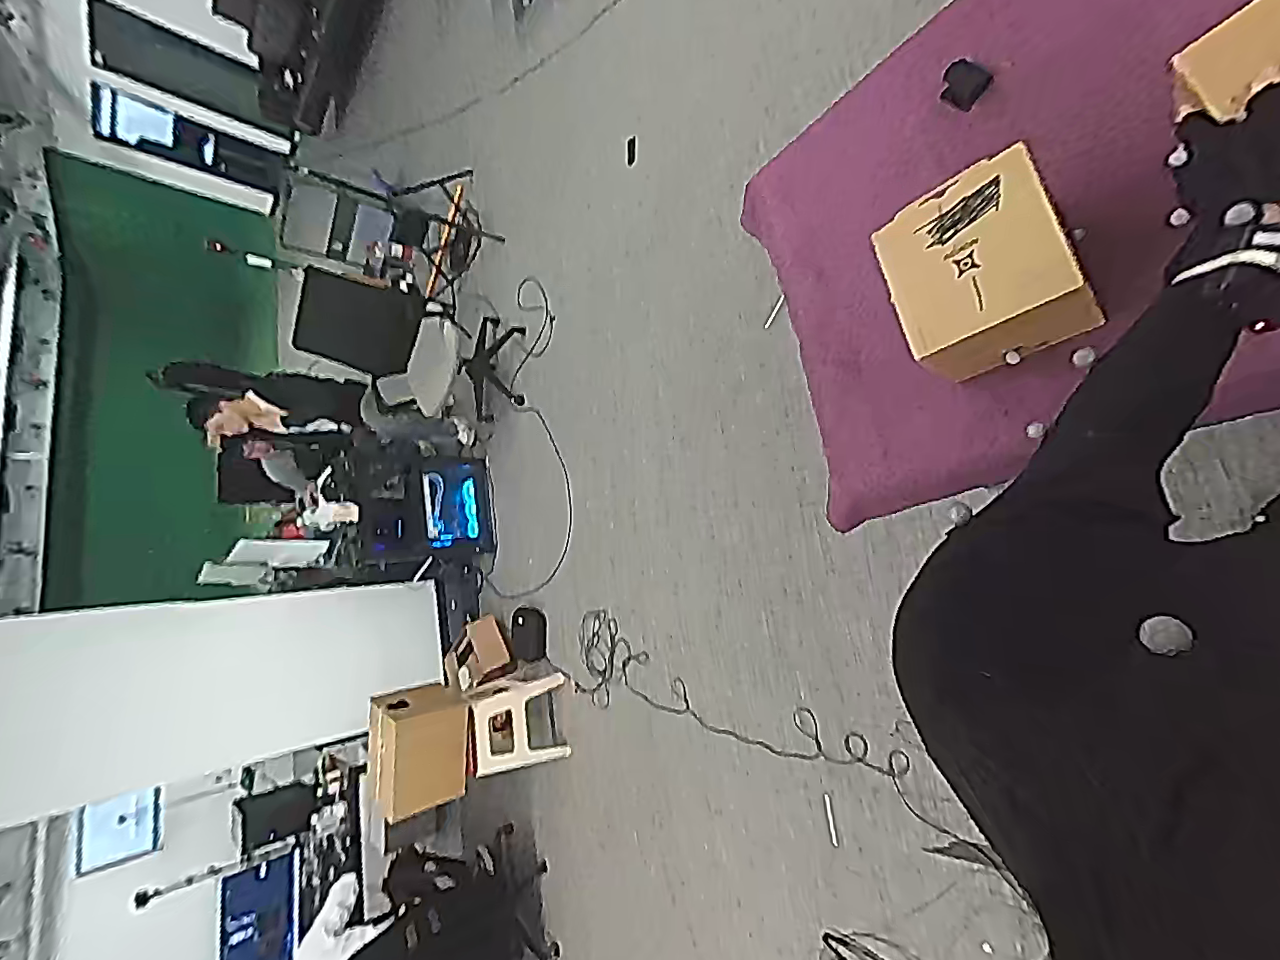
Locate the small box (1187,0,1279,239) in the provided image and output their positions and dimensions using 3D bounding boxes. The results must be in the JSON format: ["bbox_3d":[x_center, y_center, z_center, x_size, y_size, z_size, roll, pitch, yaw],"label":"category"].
[{"bbox_3d":[0.601,-0.333,0.441,0.179,0.176,0.168,-33,70,44],"label":"small box"}]
